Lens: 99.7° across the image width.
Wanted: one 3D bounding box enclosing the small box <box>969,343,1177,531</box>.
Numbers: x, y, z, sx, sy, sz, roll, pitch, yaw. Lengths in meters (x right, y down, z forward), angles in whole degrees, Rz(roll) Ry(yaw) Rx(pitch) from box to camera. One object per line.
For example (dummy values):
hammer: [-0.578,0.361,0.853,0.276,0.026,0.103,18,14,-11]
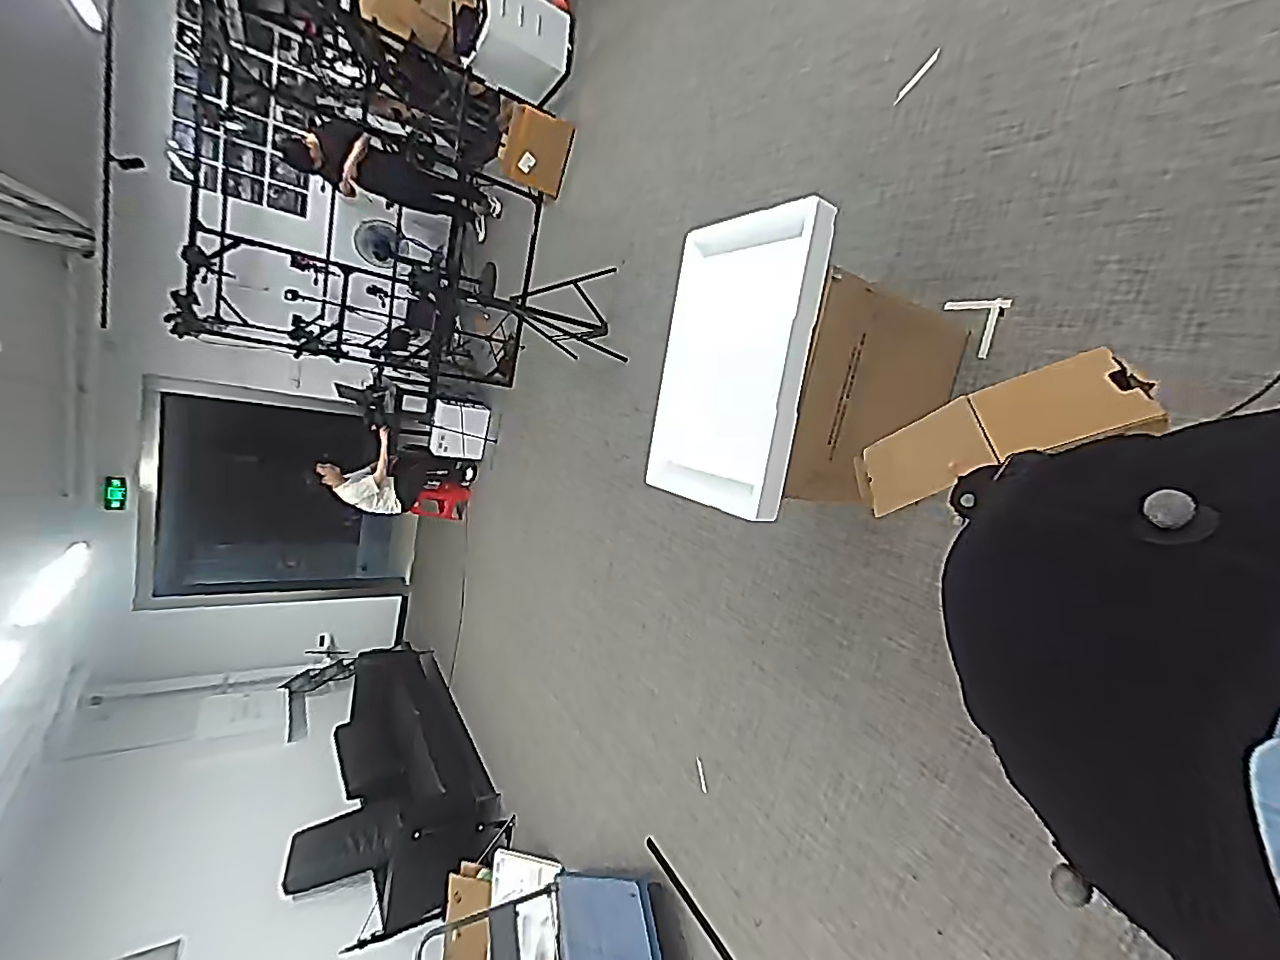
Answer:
small box: [0.598,-0.052,0.757,0.179,0.176,0.168,-21,35,30]
